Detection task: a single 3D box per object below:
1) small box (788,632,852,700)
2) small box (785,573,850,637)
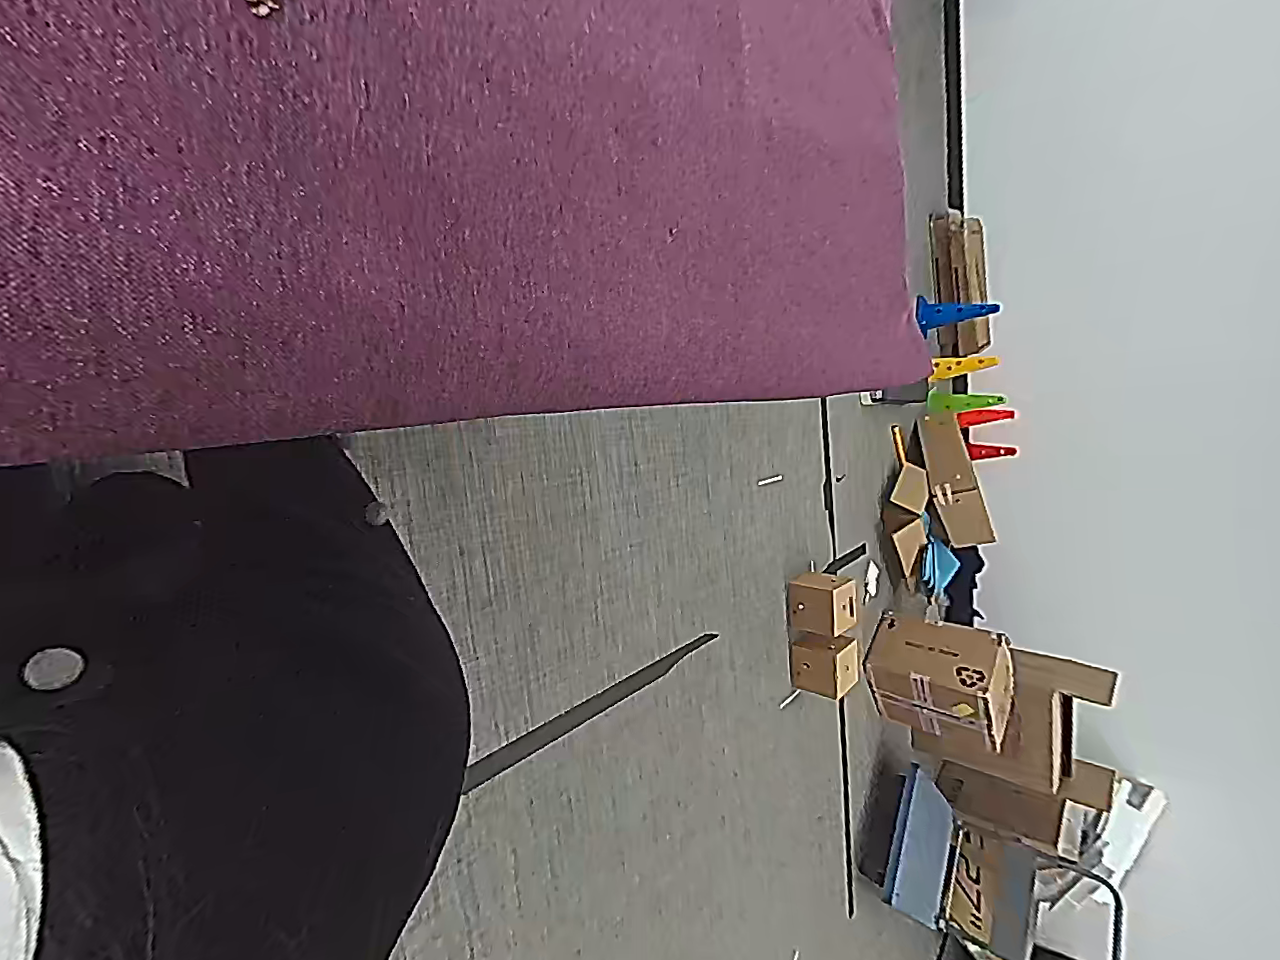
[{"bbox_3d":[0.652,0.661,1.959,0.179,0.176,0.168,-11,100,-46],"label":"small box"},{"bbox_3d":[0.631,0.438,1.925,0.179,0.176,0.168,-9,97,-46],"label":"small box"}]
